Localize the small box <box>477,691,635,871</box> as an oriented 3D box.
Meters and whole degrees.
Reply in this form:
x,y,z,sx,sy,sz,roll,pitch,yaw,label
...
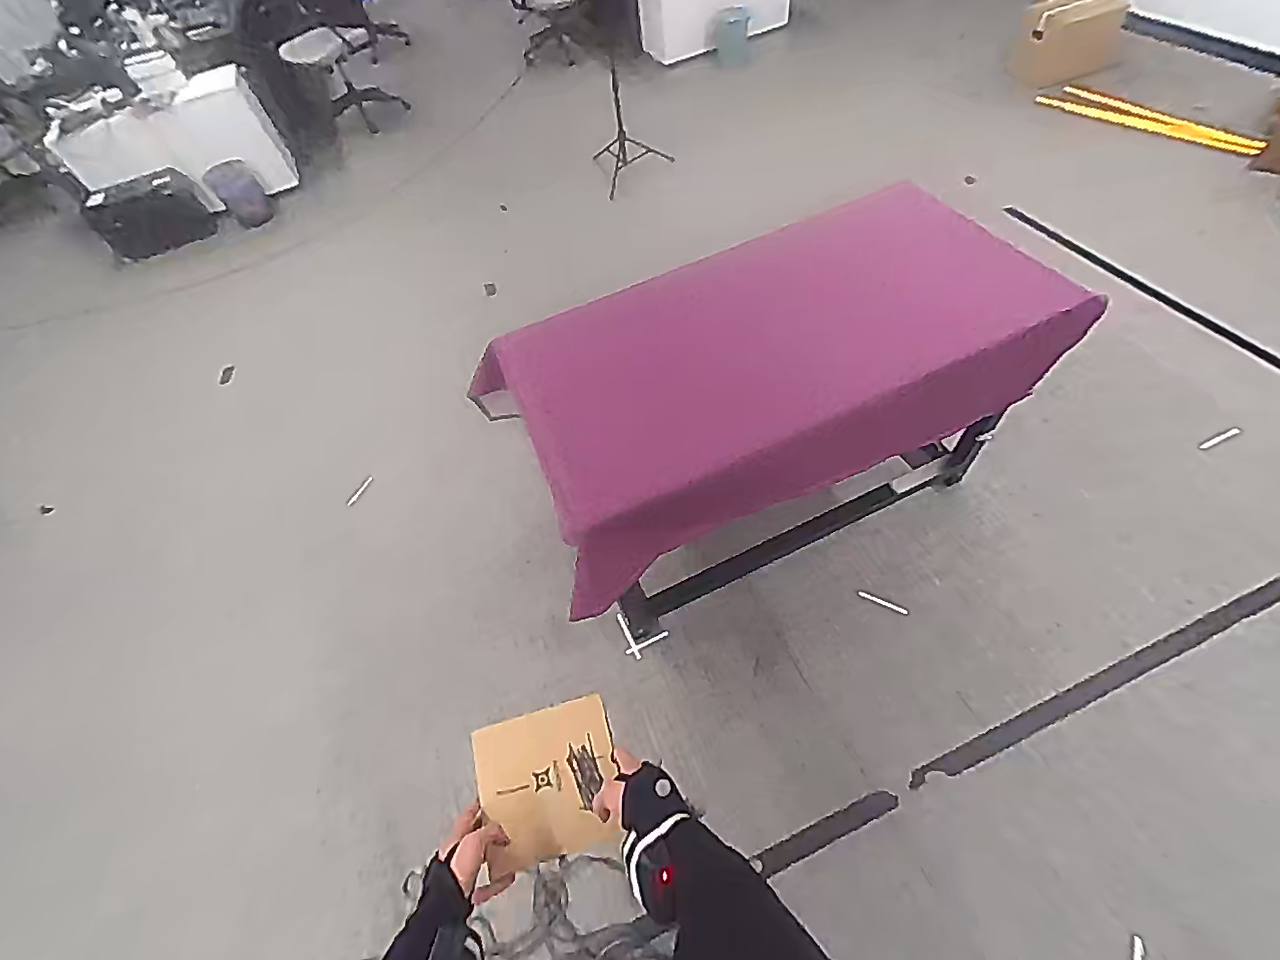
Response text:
x,y,z,sx,sy,sz,roll,pitch,yaw,label
-0.113,0.408,0.742,0.179,0.176,0.168,-12,59,-10,small box
